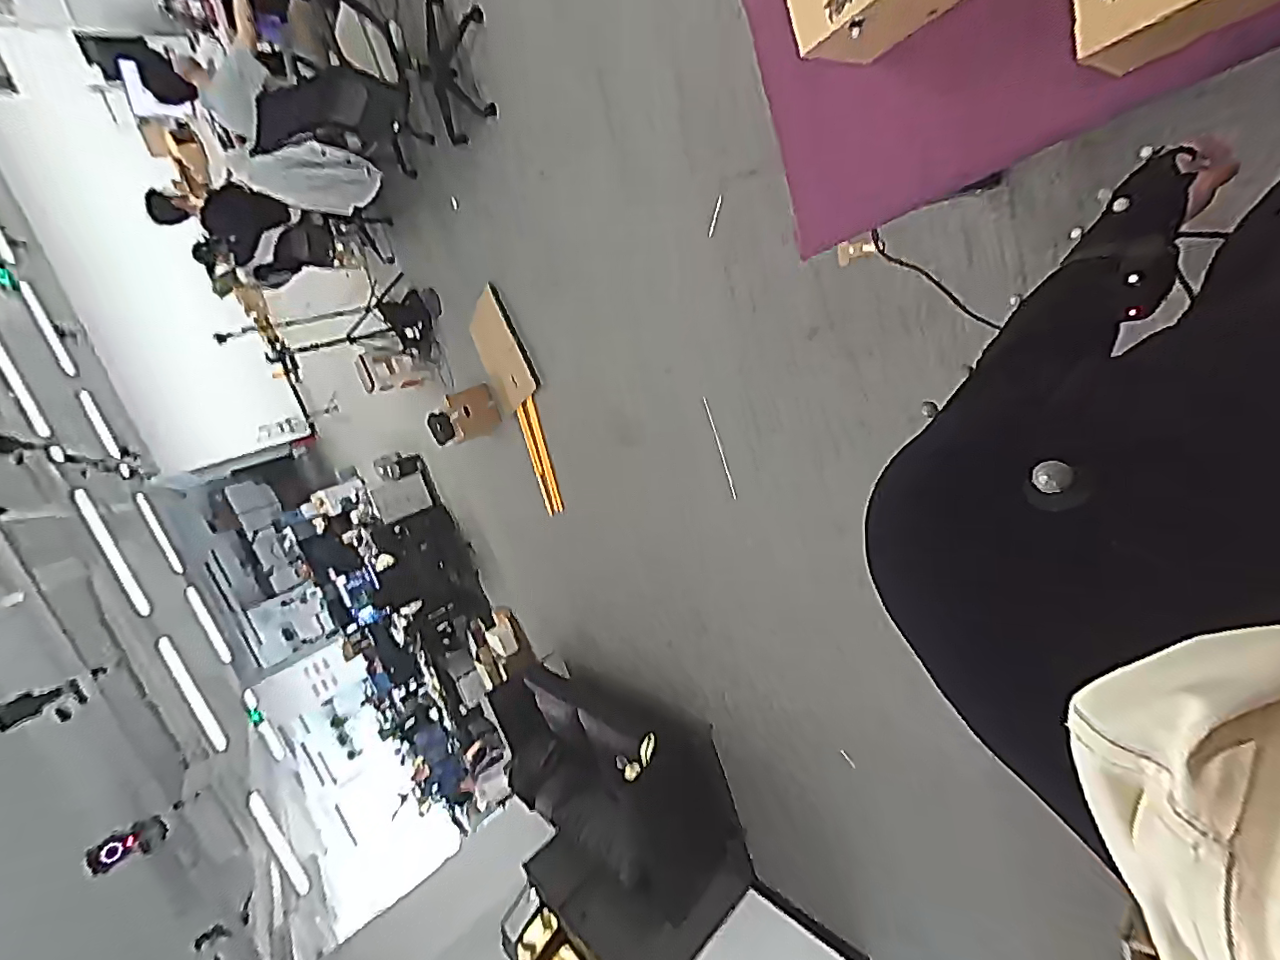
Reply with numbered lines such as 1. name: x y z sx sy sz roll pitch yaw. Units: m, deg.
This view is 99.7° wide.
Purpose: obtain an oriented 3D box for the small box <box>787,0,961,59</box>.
1. small box: 0.289 -0.656 0.657 0.168 0.176 0.179 -2 110 54
